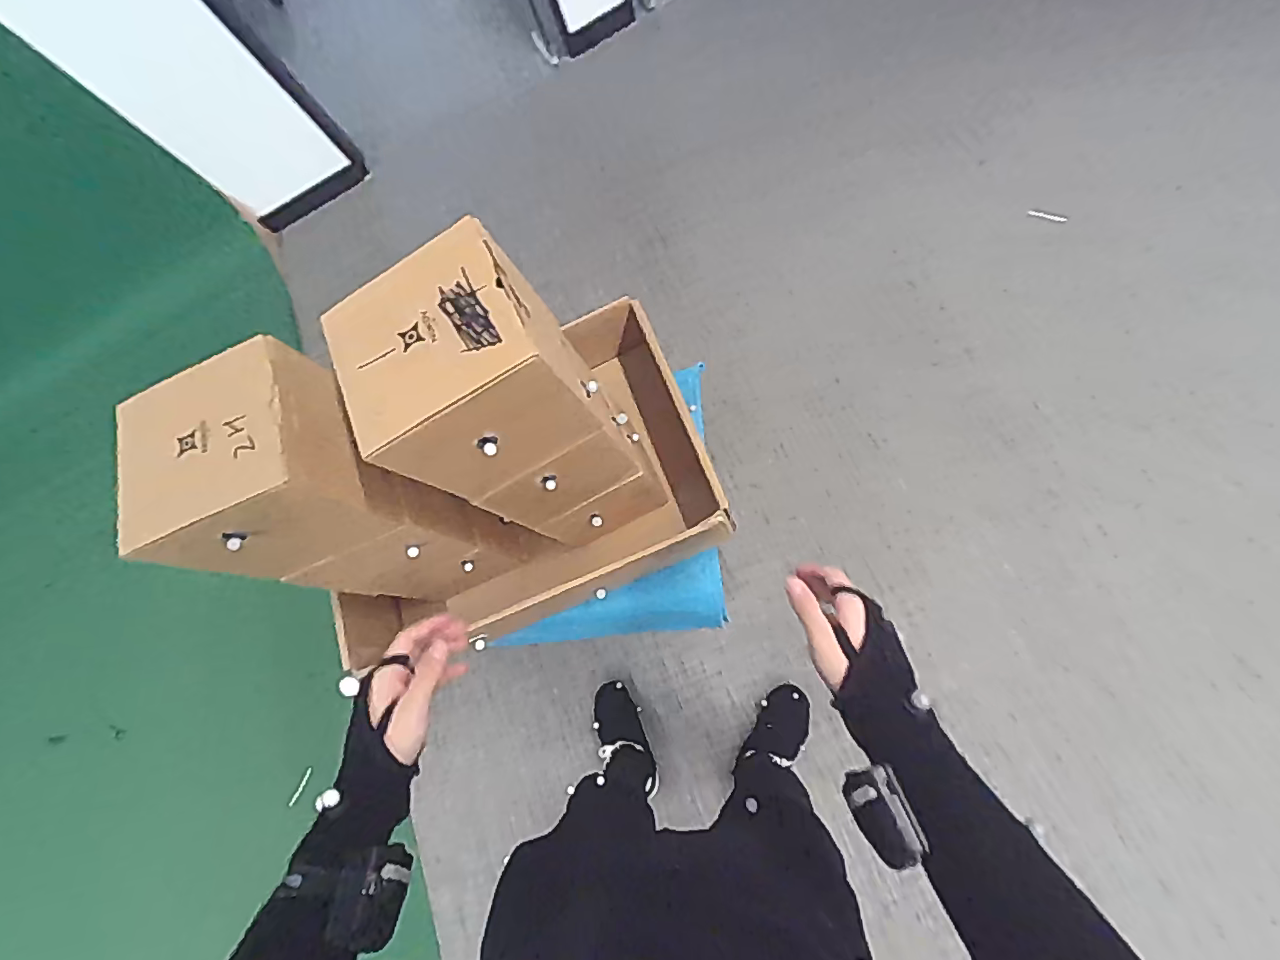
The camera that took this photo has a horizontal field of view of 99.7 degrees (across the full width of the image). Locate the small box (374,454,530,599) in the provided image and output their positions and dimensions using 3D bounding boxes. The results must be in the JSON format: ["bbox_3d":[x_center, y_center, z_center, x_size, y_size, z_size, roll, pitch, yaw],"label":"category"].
[{"bbox_3d":[-0.309,0.086,0.889,0.179,0.176,0.168,-24,69,6],"label":"small box"}]

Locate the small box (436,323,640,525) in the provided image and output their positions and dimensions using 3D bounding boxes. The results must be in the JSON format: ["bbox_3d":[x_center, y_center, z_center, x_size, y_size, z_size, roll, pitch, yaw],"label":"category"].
[{"bbox_3d":[-0.124,-0.058,0.699,0.179,0.176,0.168,-29,69,7],"label":"small box"}]

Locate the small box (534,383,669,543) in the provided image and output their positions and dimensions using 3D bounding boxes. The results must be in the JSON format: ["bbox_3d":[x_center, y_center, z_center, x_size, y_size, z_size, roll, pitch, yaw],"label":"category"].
[{"bbox_3d":[-0.076,-0.015,0.849,0.179,0.176,0.168,-28,69,8],"label":"small box"}]

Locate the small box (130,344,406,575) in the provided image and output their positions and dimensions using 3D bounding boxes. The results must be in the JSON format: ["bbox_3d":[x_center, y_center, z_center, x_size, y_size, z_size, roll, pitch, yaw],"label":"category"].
[{"bbox_3d":[-0.389,-0.007,0.583,0.179,0.176,0.168,-23,70,6],"label":"small box"}]
